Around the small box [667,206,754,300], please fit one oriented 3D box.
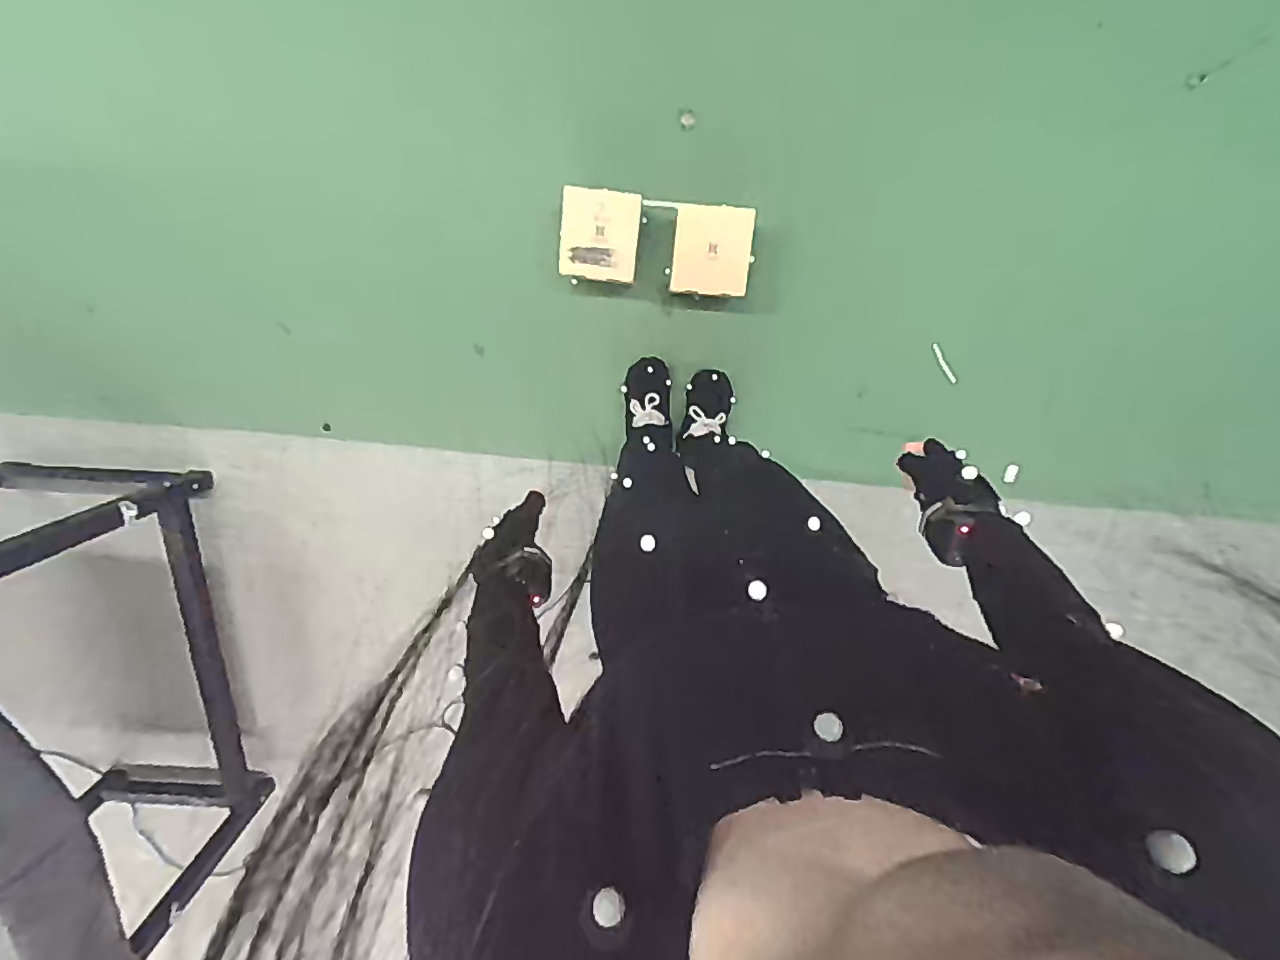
[{"bbox_3d":[0.153,-0.511,1.237,0.168,0.176,0.179,4,109,-1],"label":"small box"}]
